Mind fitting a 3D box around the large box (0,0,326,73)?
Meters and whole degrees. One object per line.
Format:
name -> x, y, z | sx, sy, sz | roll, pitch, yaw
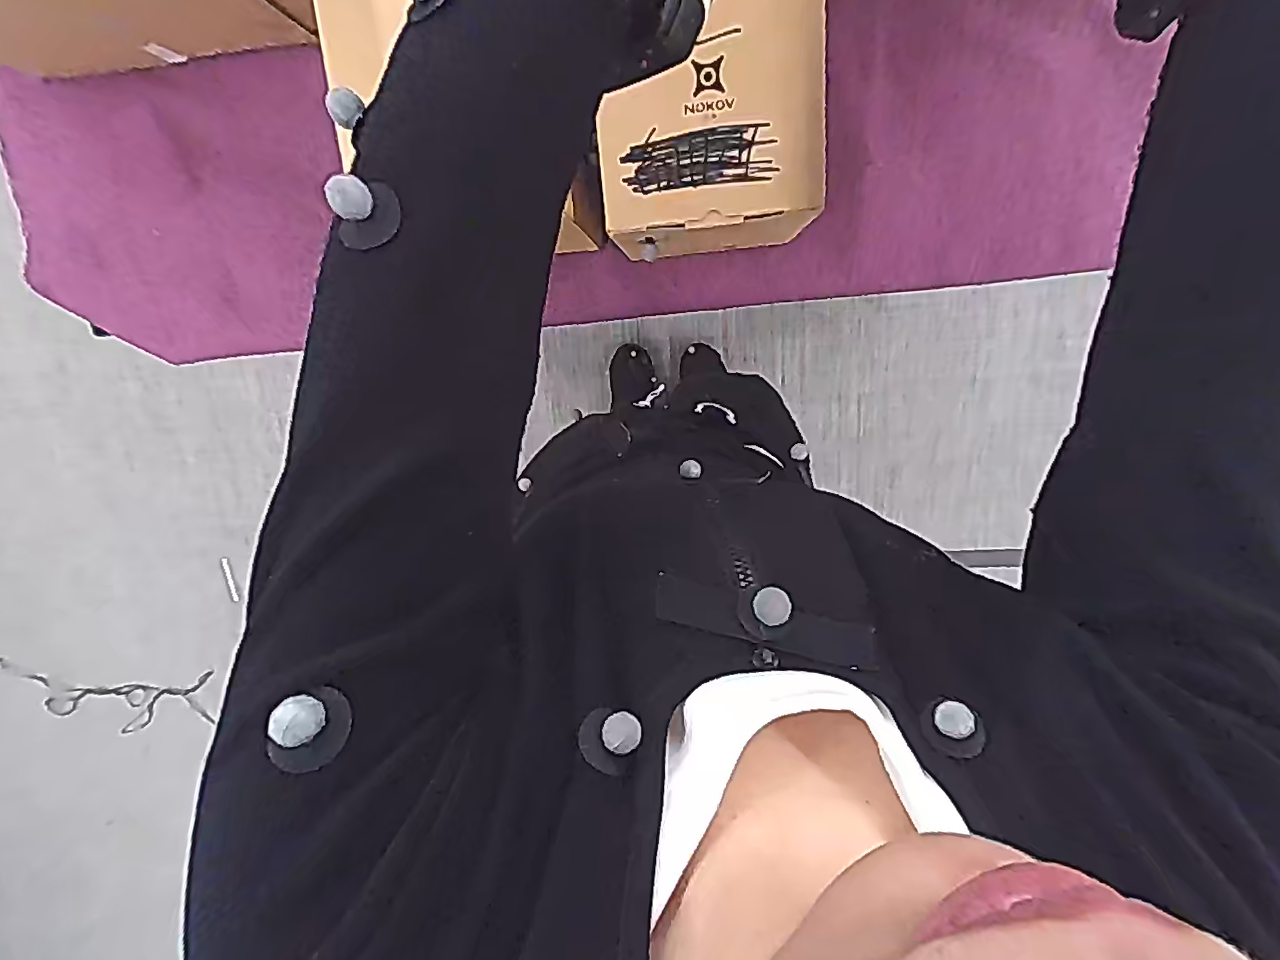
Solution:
large box -> -0.489, -0.579, 0.356 | 0.320, 0.320, 0.408 | -5, 108, 5
